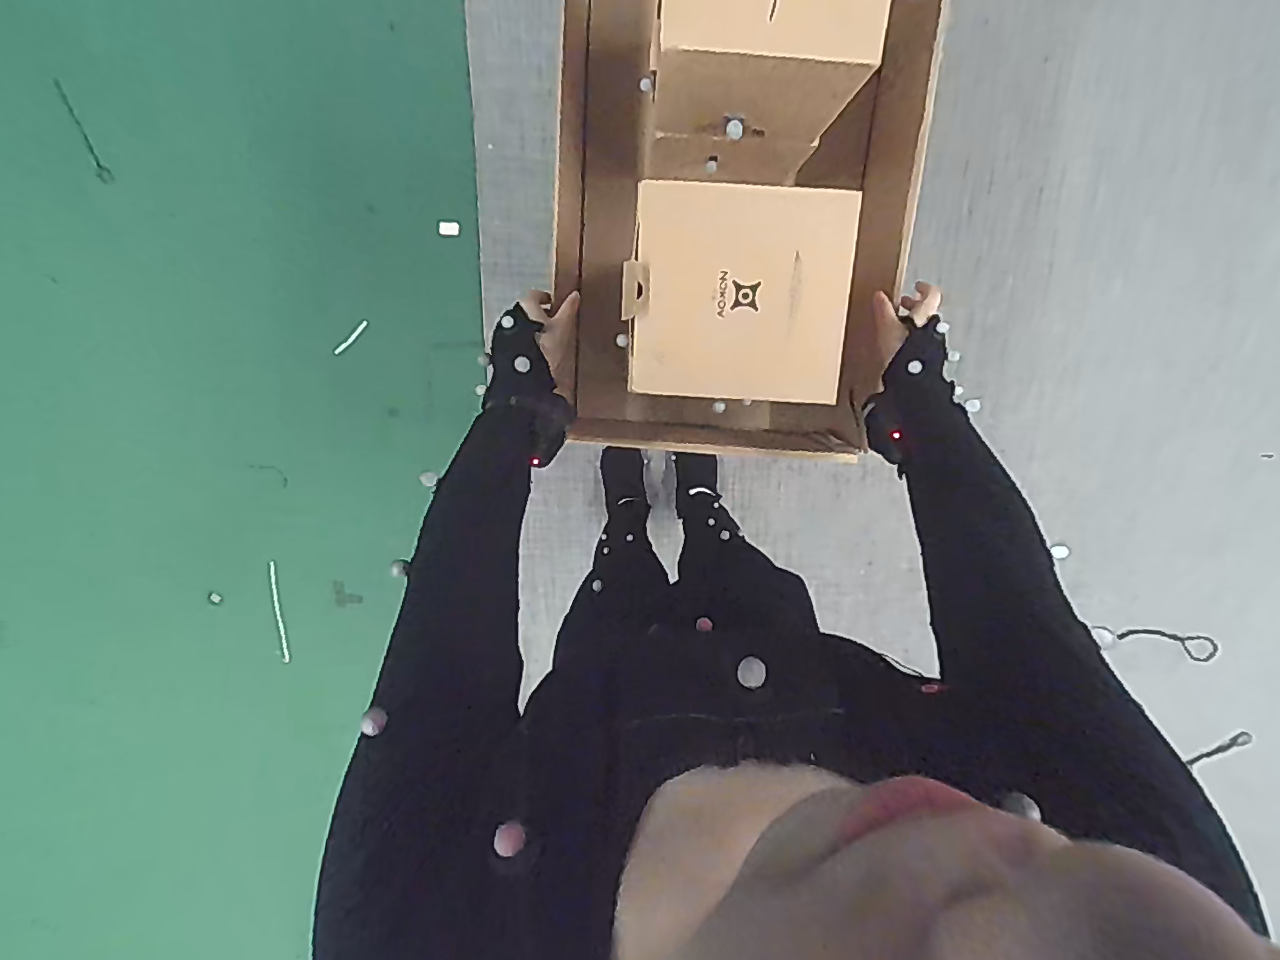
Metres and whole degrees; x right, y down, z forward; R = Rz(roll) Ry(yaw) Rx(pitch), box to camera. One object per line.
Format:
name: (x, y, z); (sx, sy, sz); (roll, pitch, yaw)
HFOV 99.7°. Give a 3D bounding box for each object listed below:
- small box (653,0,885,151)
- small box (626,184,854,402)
small box: (0.102, -0.414, 0.464); (0.168, 0.176, 0.179); (5, 105, -1)
small box: (0.079, -0.167, 0.523); (0.179, 0.176, 0.168); (3, 103, -1)
